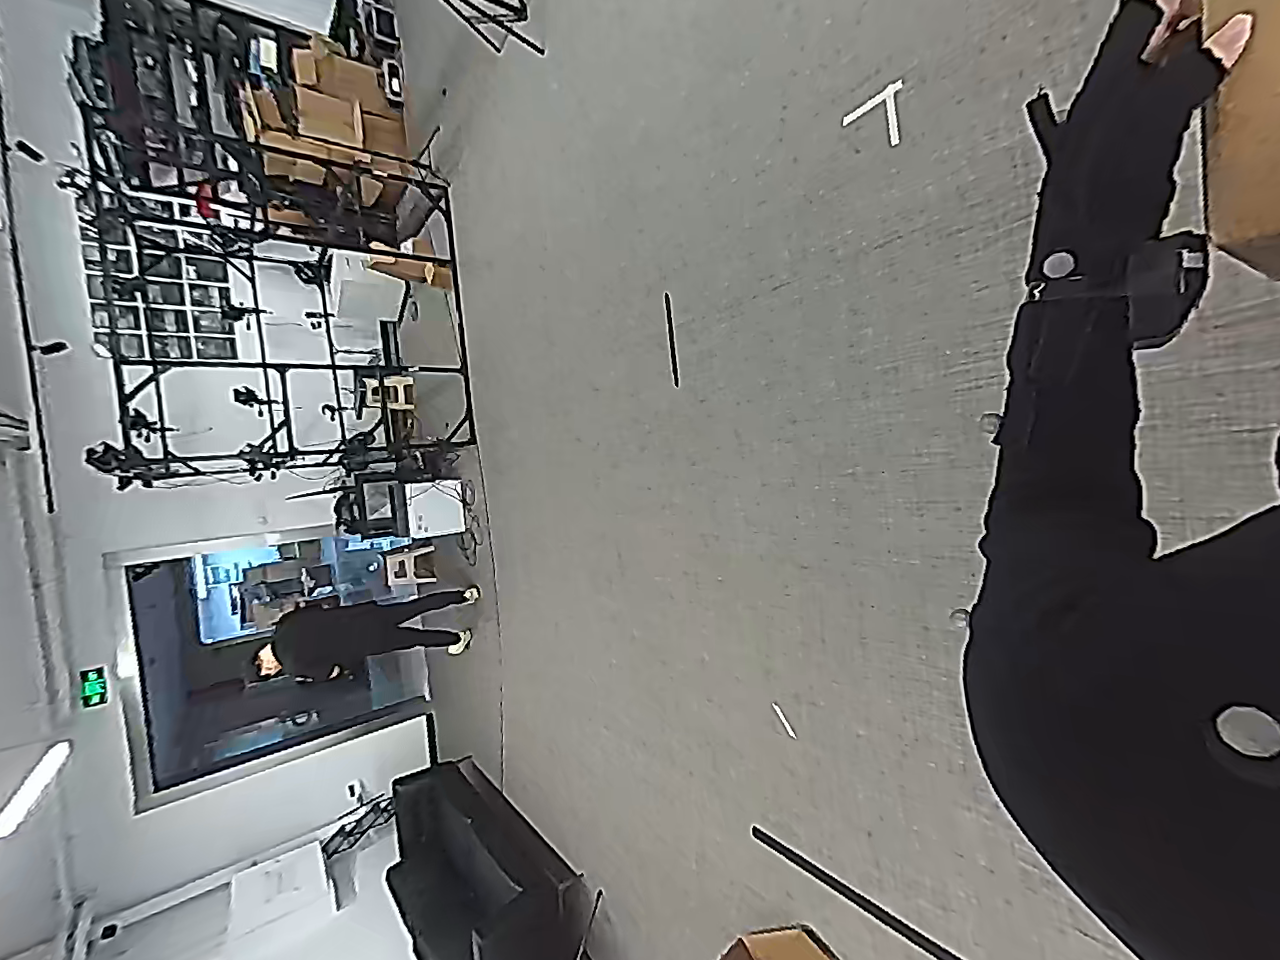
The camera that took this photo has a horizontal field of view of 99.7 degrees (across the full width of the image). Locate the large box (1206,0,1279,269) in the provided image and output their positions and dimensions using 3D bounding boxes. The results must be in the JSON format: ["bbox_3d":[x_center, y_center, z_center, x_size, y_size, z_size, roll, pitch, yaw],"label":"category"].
[{"bbox_3d":[0.548,-0.319,0.231,0.408,0.320,0.320,0,99,53],"label":"large box"}]
